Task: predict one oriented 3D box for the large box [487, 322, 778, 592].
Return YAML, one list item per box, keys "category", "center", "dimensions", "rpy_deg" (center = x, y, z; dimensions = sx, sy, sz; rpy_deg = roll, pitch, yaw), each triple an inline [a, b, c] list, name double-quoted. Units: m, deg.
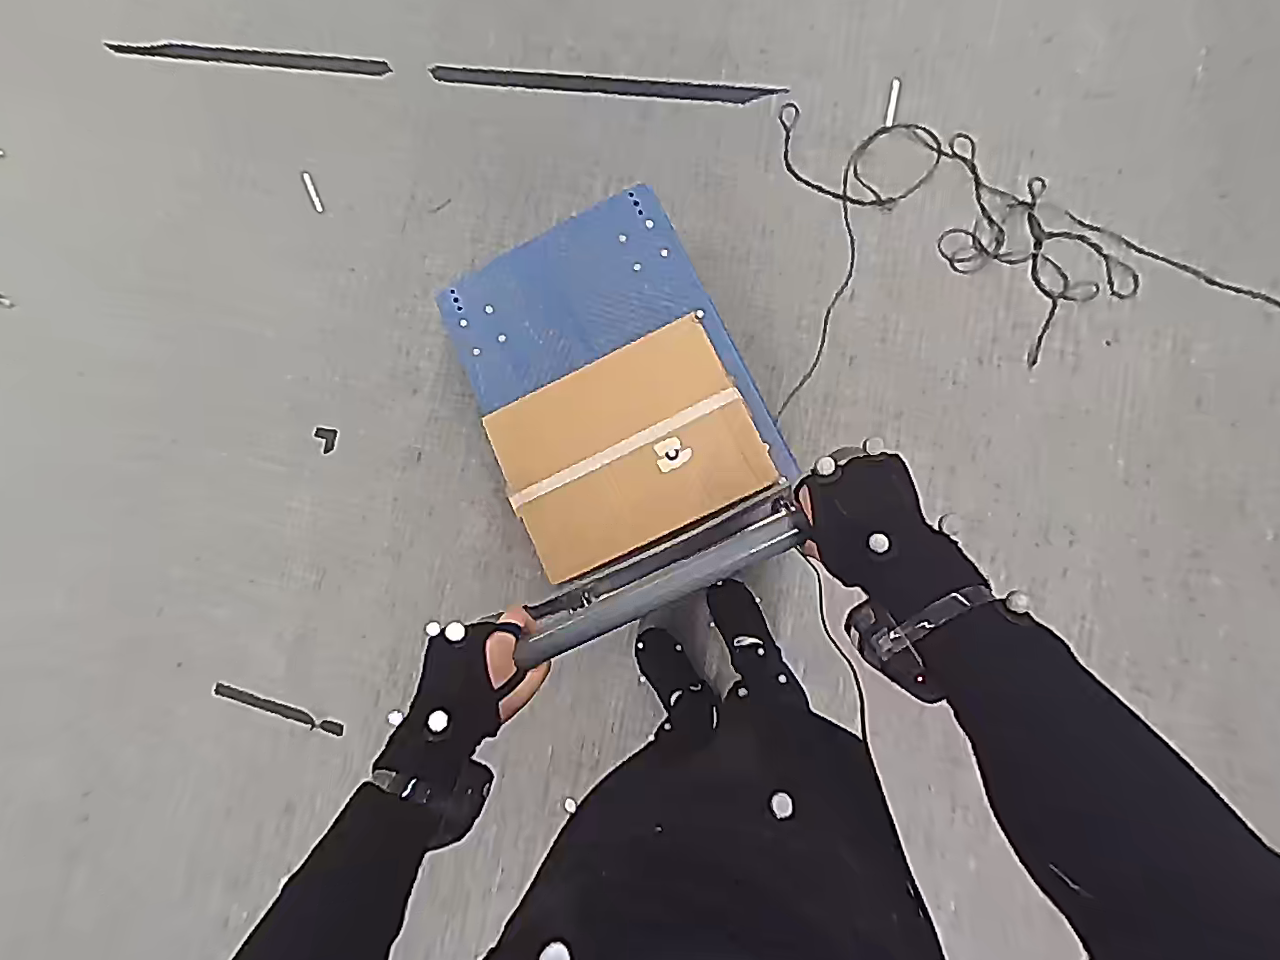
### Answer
- category: "large box"
  center: [-0.004, -0.020, 1.024]
  dimensions: [0.408, 0.320, 0.320]
  rpy_deg: [-26, 81, 4]
